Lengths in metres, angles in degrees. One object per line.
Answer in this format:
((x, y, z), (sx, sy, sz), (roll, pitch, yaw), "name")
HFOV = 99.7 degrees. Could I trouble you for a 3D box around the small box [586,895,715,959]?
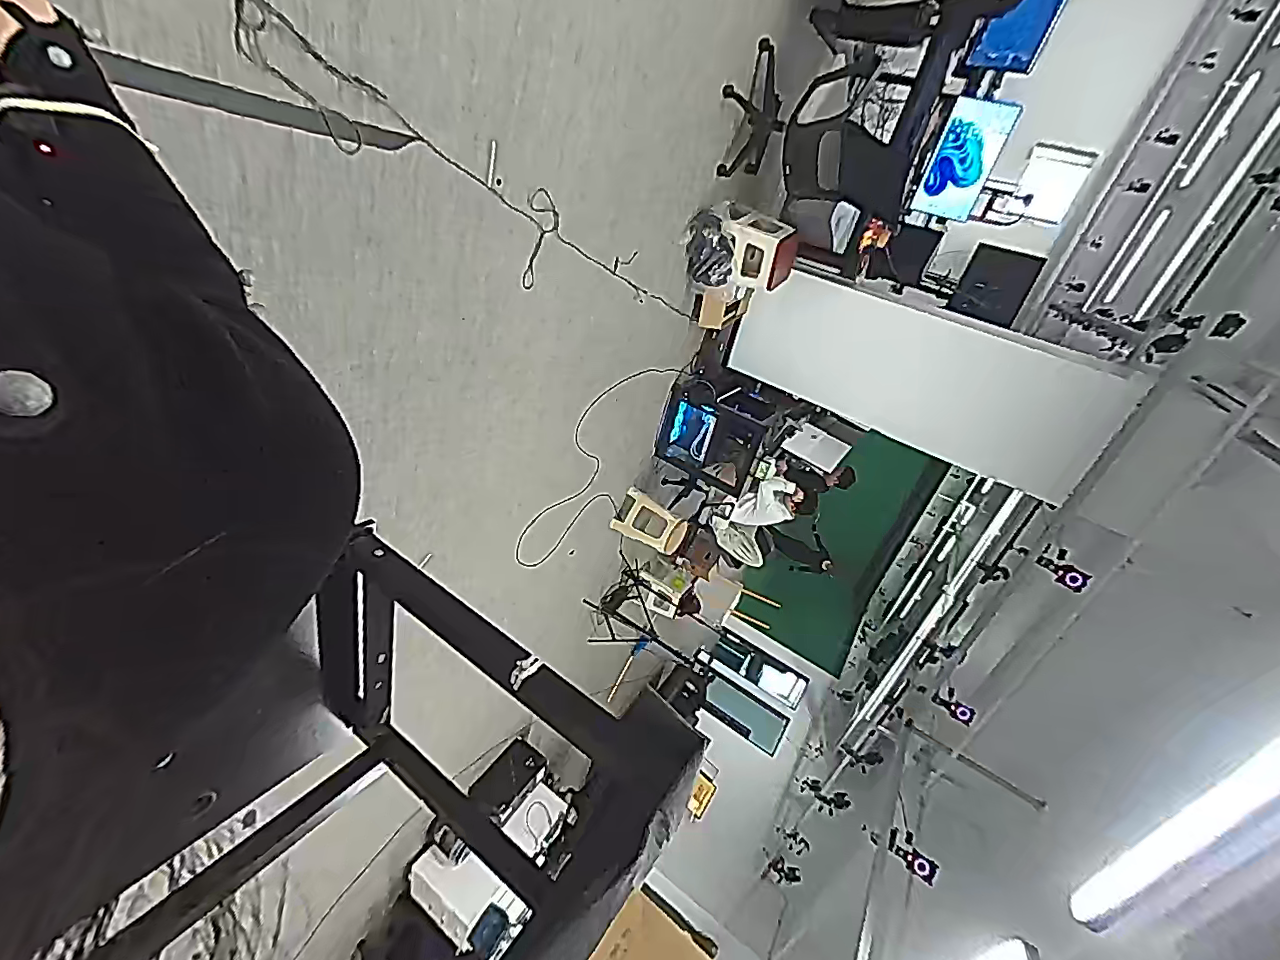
((-0.006, 0.621, 0.604), (0.168, 0.176, 0.179), (-27, 143, -53), "small box")
